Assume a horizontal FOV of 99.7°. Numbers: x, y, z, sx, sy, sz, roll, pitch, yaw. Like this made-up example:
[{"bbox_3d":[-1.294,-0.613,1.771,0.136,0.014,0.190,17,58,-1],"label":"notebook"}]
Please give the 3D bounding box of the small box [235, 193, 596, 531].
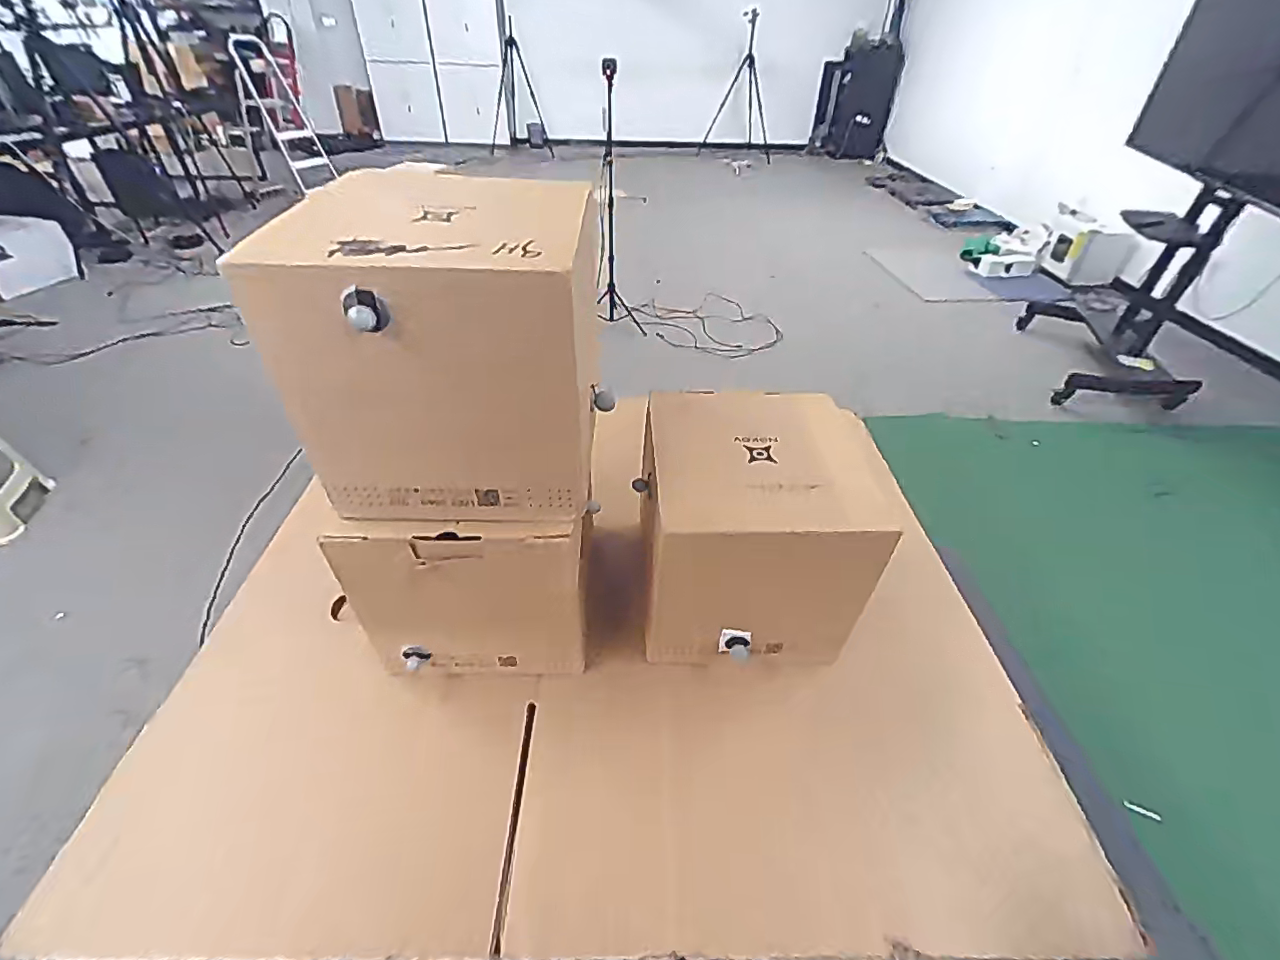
[{"bbox_3d":[-0.119,-0.086,0.377,0.168,0.176,0.179,1,40,-1],"label":"small box"}]
